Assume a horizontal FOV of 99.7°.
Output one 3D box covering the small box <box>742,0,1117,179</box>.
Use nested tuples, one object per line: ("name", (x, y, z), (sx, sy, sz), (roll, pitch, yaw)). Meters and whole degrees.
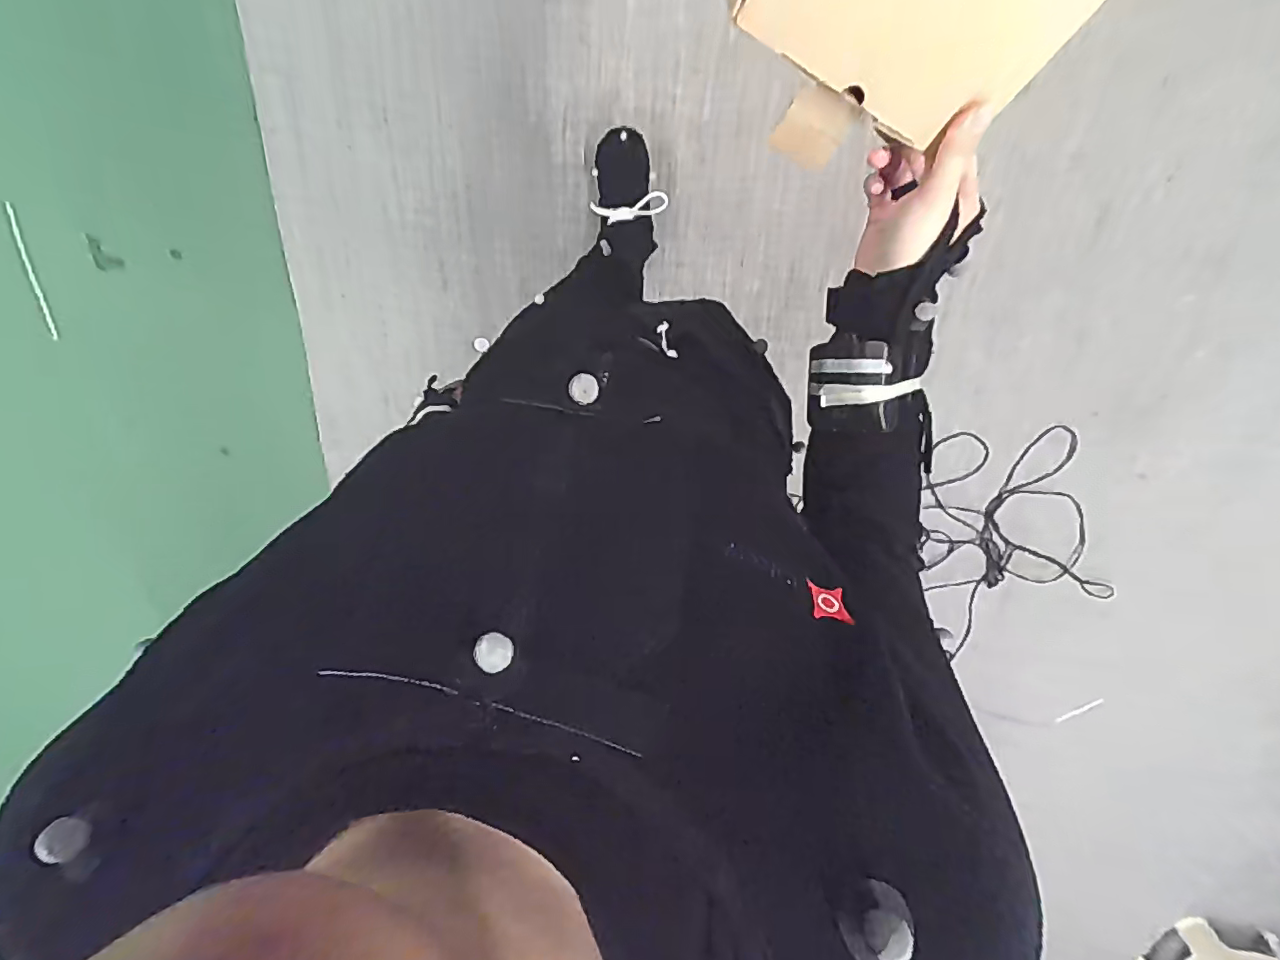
("small box", (0.164, -0.325, 0.304), (0.168, 0.176, 0.179), (18, 142, -21))
